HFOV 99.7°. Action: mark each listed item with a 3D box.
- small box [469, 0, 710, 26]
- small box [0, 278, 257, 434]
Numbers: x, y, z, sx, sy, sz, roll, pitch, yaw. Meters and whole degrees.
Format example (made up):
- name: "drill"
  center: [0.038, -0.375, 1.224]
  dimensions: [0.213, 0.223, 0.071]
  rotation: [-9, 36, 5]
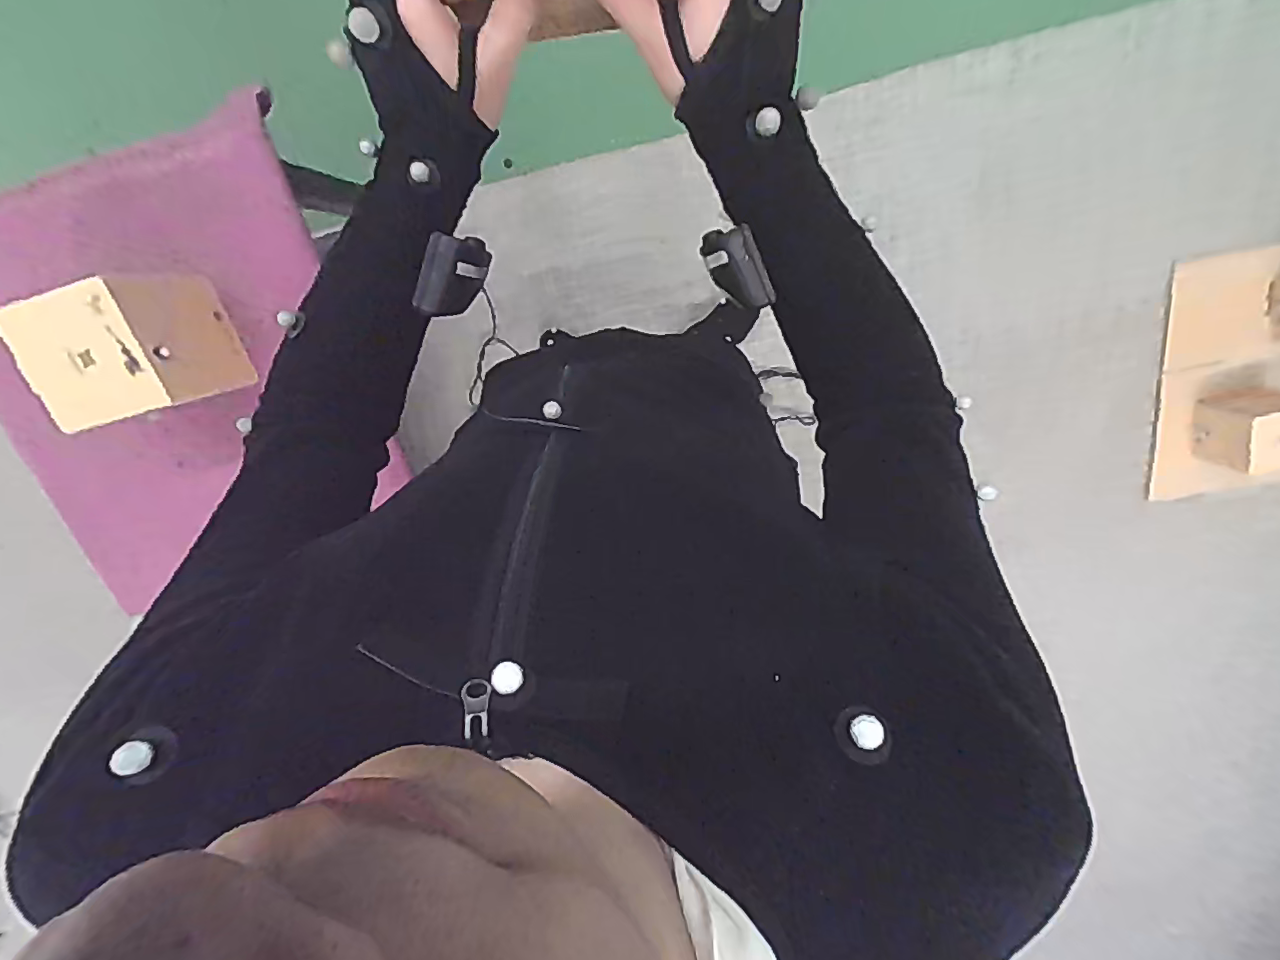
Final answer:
- name: "small box"
  center: [-0.040, -0.372, 0.272]
  dimensions: [0.168, 0.176, 0.179]
  rotation: [-3, 102, 5]
- name: "small box"
  center: [-0.709, -0.182, 0.771]
  dimensions: [0.179, 0.176, 0.168]
  rotation: [-13, 111, 9]
